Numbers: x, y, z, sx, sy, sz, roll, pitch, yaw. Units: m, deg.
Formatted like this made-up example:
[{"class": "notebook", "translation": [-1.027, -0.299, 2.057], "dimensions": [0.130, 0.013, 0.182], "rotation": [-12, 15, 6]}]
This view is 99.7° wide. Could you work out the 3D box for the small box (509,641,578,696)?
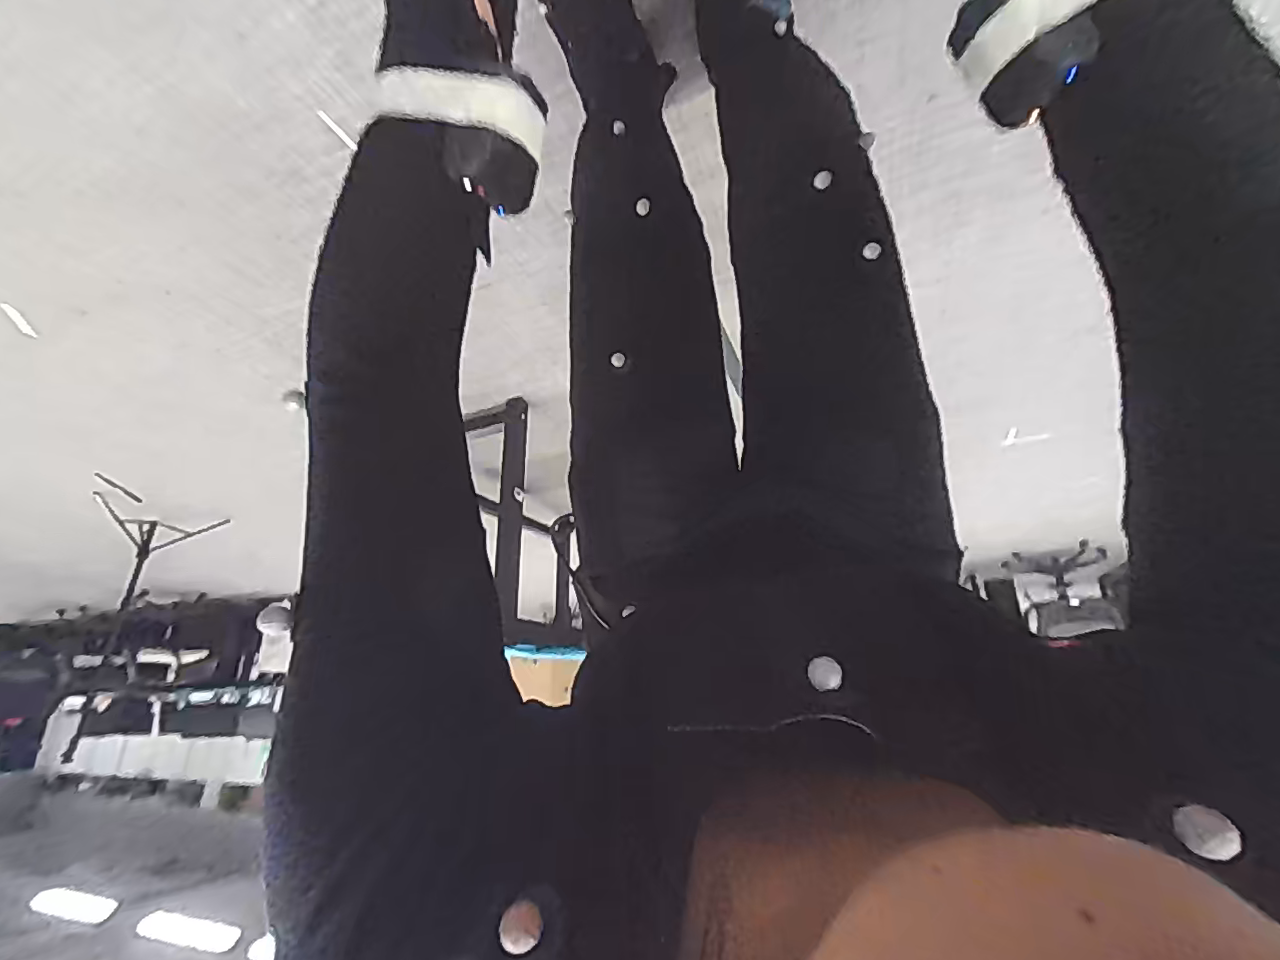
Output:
[{"class": "small box", "translation": [-0.317, 0.634, 1.819], "dimensions": [0.168, 0.176, 0.179], "rotation": [-10, 157, 23]}]
